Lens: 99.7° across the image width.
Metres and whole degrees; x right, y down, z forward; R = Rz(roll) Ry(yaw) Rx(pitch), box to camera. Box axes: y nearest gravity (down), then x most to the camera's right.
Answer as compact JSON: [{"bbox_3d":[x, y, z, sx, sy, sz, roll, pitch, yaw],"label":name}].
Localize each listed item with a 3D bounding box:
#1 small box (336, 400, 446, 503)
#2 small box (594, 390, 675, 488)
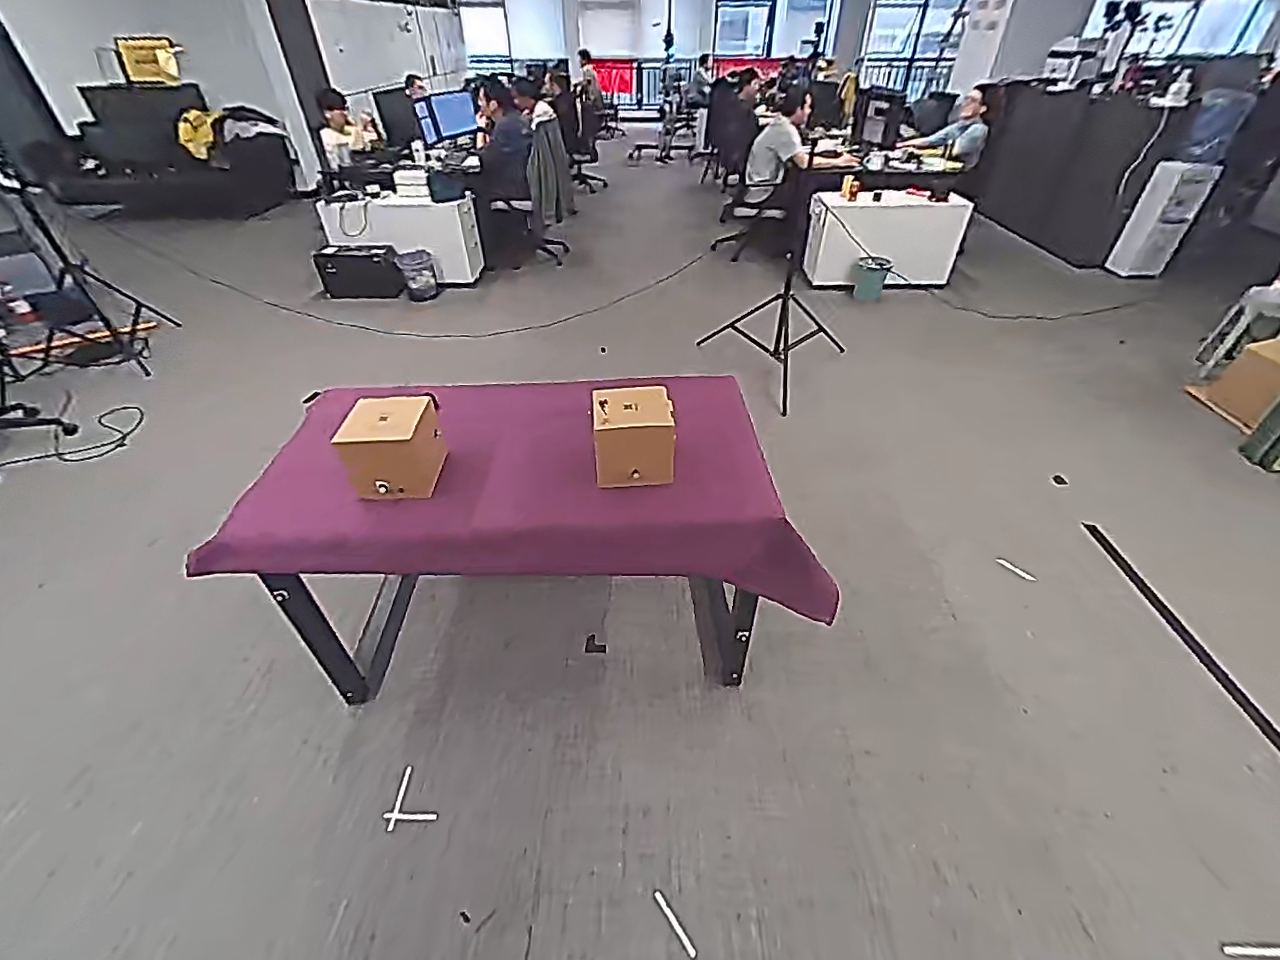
[{"bbox_3d":[-0.558,-0.067,1.242,0.168,0.176,0.179,-3,40,-2],"label":"small box"},{"bbox_3d":[-0.017,-0.095,1.269,0.179,0.176,0.168,-3,39,-4],"label":"small box"}]
